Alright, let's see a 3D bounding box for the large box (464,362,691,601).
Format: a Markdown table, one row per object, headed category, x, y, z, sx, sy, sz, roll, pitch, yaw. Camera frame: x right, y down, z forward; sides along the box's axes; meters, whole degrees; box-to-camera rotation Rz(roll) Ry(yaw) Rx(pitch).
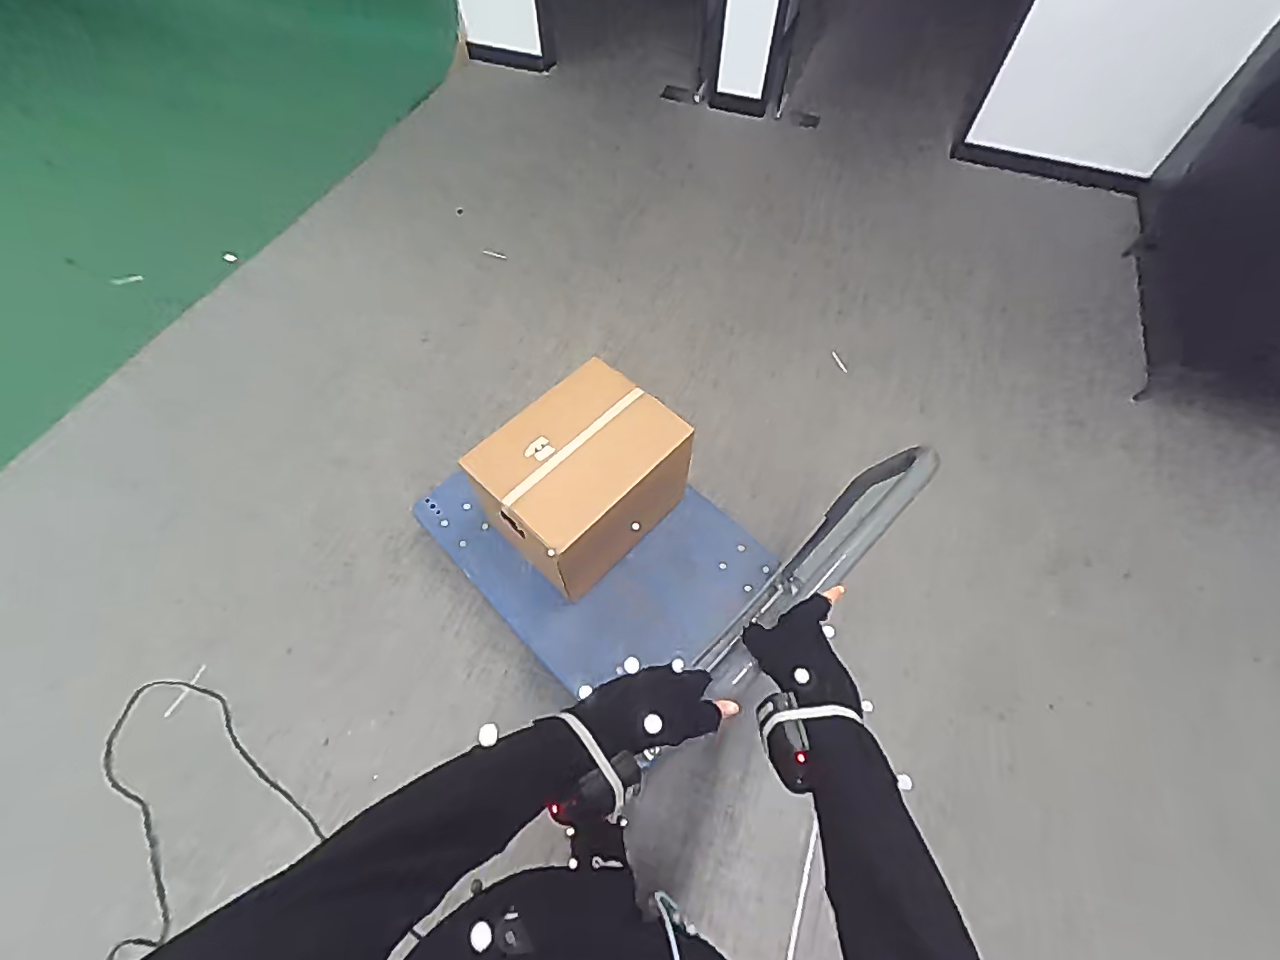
| category | x | y | z | sx | sy | sz | roll | pitch | yaw |
| --- | --- | --- | --- | --- | --- | --- | --- | --- | --- |
| large box | -0.127 | 0.007 | 1.282 | 0.320 | 0.320 | 0.408 | 39 | 68 | 21 |
